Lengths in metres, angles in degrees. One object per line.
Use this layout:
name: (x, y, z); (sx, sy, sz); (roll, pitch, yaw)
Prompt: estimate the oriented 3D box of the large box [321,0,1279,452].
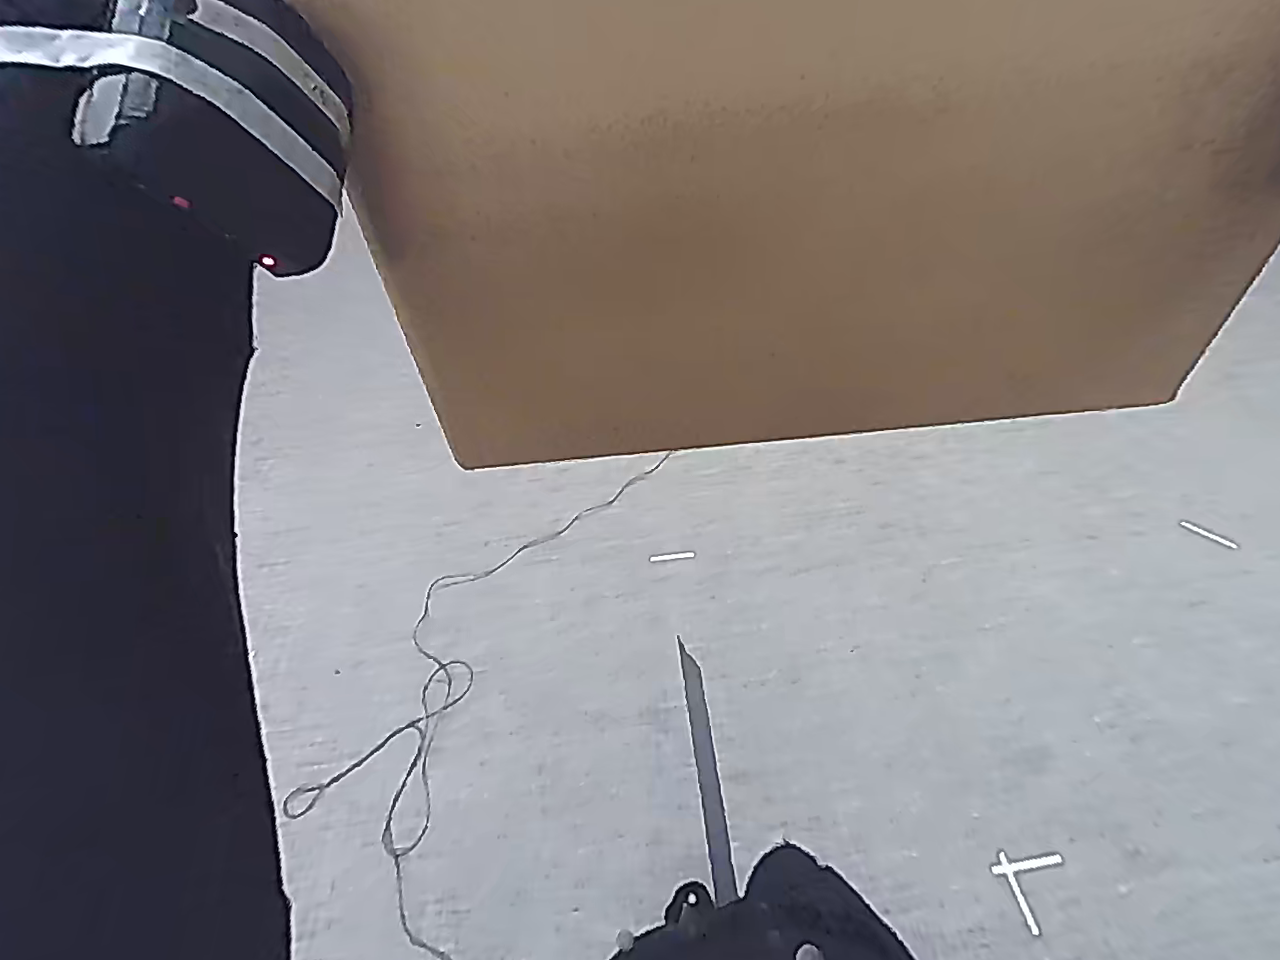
large box: (0.075, -0.242, 0.333); (0.408, 0.320, 0.320); (-5, 42, -1)
